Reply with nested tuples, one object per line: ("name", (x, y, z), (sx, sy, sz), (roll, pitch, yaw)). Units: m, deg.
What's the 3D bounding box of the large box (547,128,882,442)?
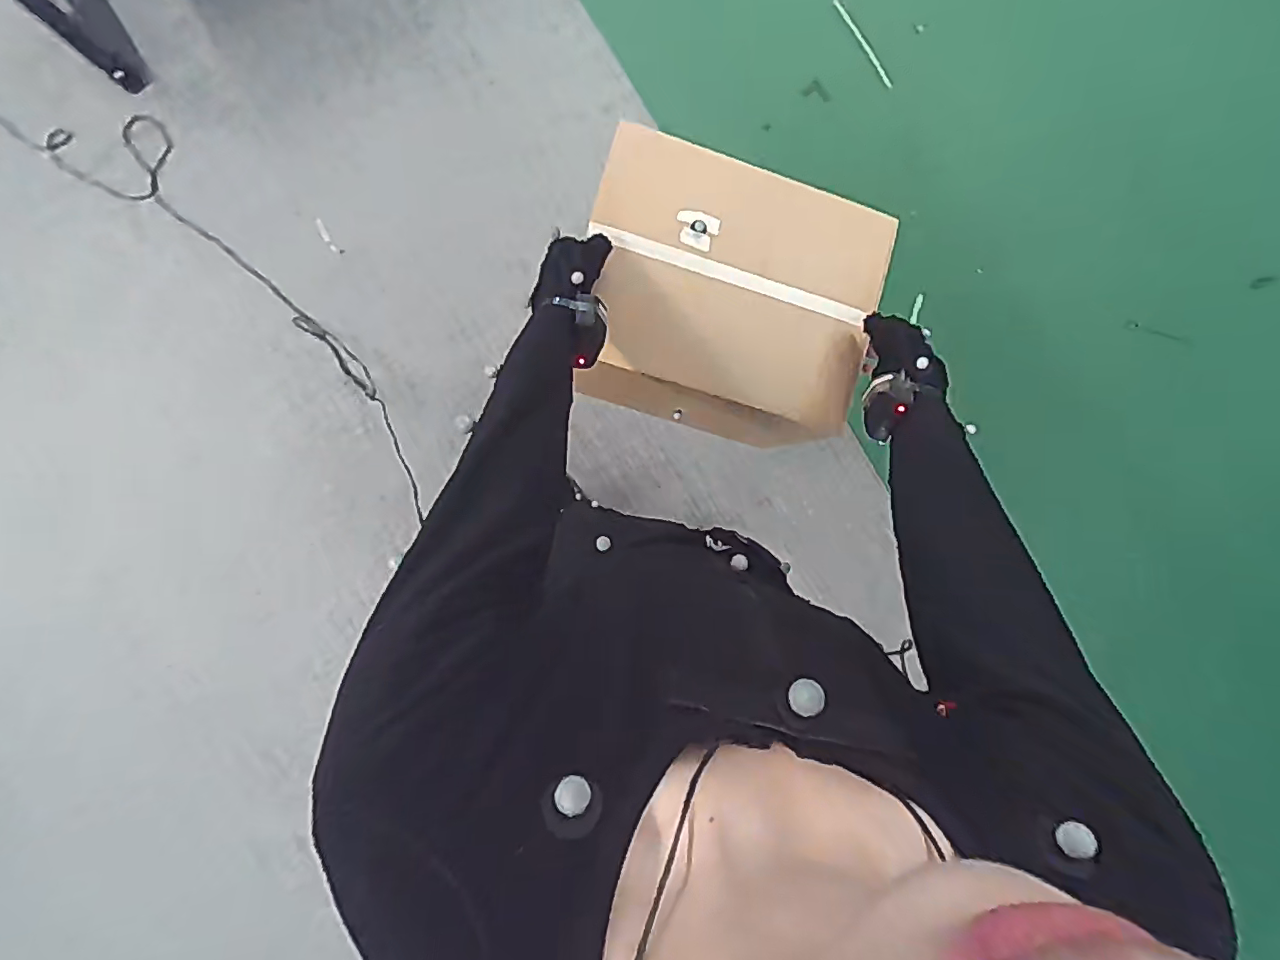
("large box", (0.093, -0.263, 0.864), (0.408, 0.320, 0.320), (15, 87, -5))
